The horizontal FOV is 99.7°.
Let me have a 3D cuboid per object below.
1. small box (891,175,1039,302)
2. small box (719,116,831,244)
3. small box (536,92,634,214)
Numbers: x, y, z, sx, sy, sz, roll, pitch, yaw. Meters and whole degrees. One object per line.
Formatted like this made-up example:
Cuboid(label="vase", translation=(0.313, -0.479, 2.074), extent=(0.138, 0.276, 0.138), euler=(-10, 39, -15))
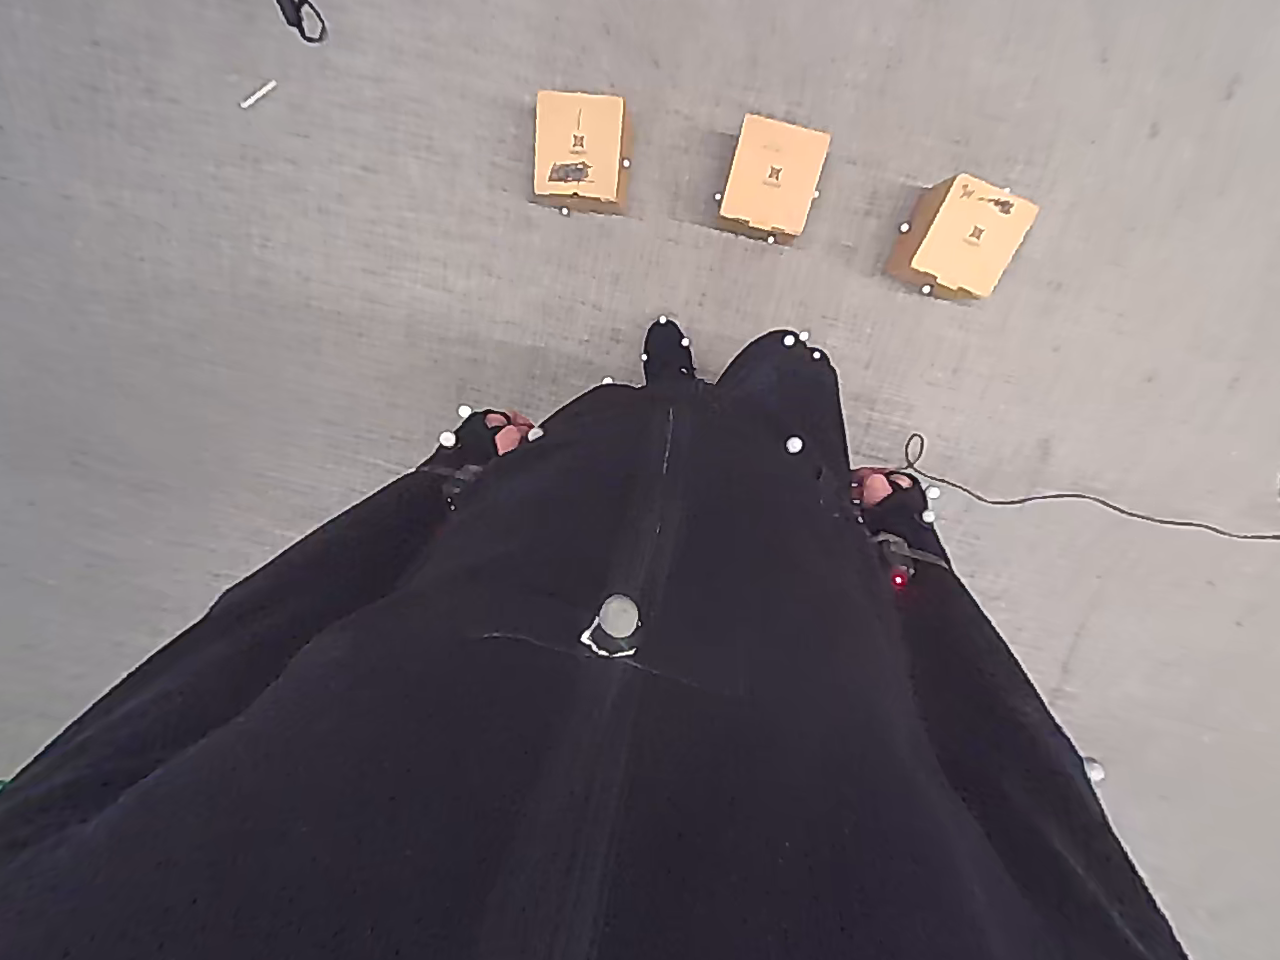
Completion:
Cuboid(label="small box", translation=(0.632, -0.472, 1.084), extent=(0.168, 0.176, 0.179), euler=(23, 109, -1))
Cuboid(label="small box", translation=(0.259, -0.589, 1.087), extent=(0.168, 0.176, 0.179), euler=(14, 107, 0))
Cuboid(label="small box", translation=(-0.106, -0.653, 1.100), extent=(0.168, 0.176, 0.179), euler=(7, 108, 3))
